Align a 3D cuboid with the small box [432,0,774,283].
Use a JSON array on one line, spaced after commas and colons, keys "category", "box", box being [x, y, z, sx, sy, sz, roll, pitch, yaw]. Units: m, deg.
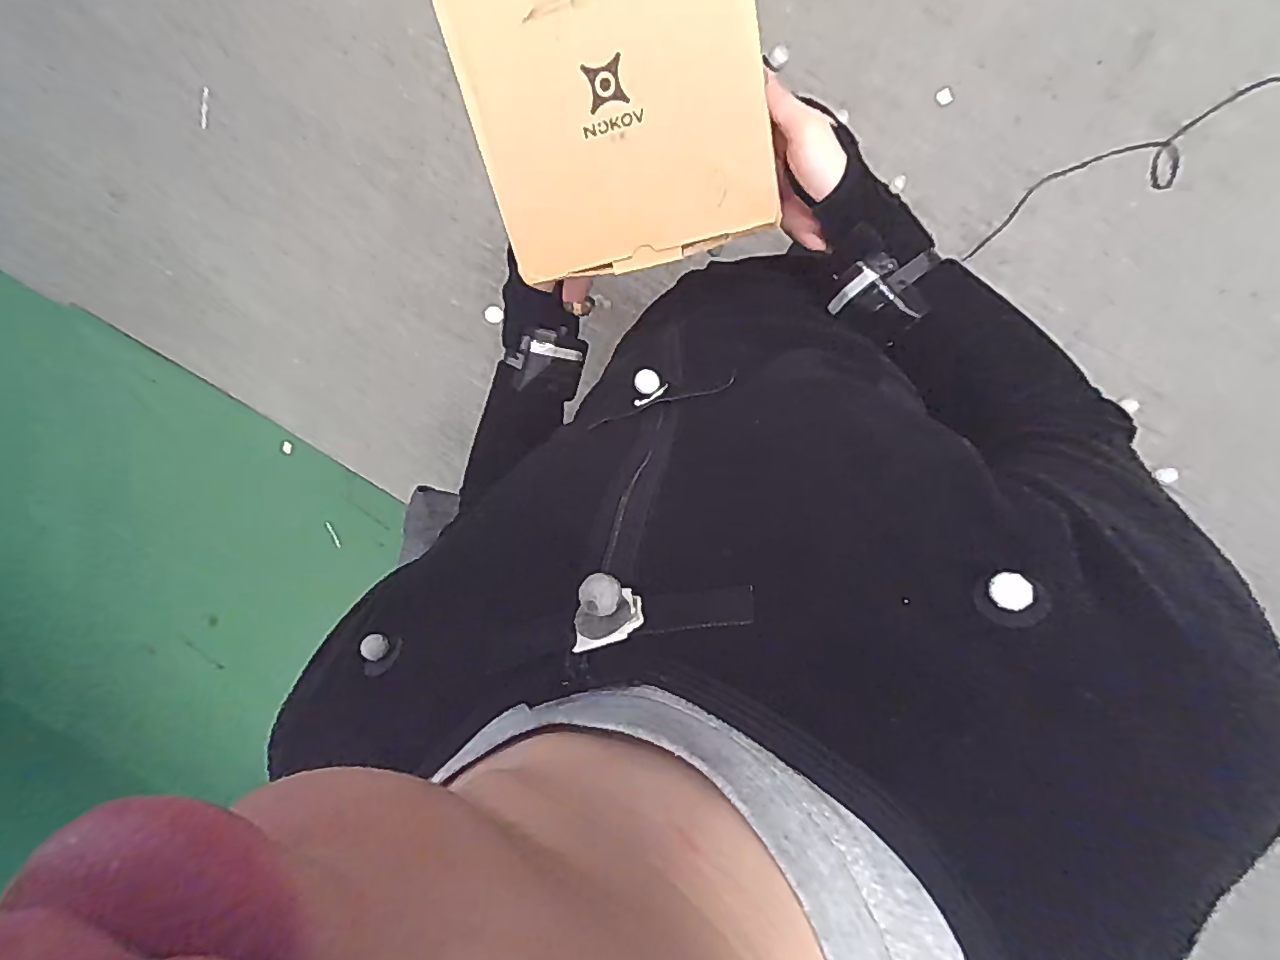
[{"category": "small box", "box": [-0.003, -0.251, 0.362, 0.168, 0.176, 0.179, -8, 116, 16]}]
